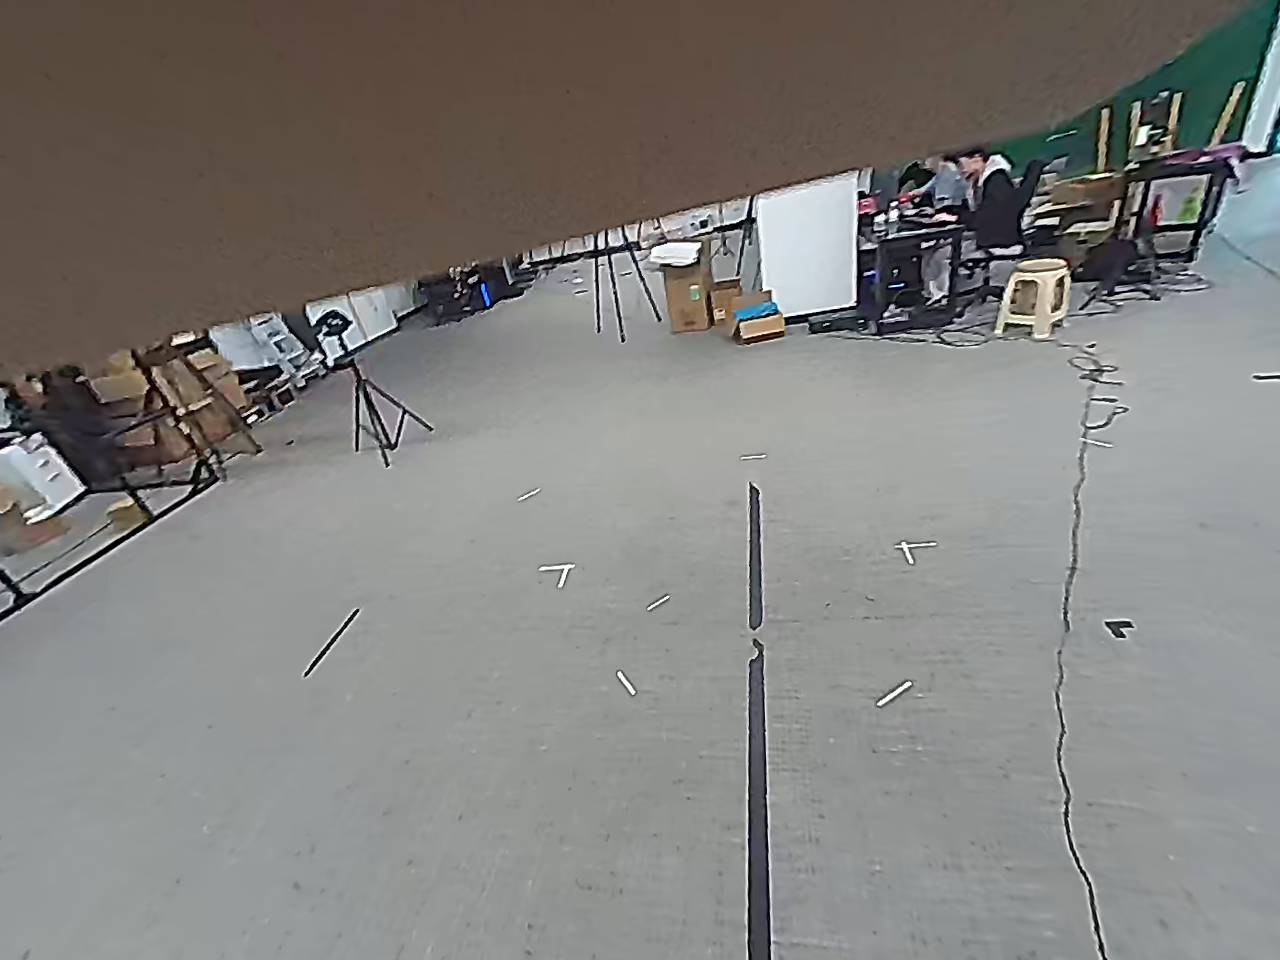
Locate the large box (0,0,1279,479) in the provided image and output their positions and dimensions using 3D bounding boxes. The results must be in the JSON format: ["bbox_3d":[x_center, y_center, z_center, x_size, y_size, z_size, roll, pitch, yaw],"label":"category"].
[{"bbox_3d":[-0.112,-0.172,0.029,0.408,0.320,0.320,-12,4,1],"label":"large box"}]
